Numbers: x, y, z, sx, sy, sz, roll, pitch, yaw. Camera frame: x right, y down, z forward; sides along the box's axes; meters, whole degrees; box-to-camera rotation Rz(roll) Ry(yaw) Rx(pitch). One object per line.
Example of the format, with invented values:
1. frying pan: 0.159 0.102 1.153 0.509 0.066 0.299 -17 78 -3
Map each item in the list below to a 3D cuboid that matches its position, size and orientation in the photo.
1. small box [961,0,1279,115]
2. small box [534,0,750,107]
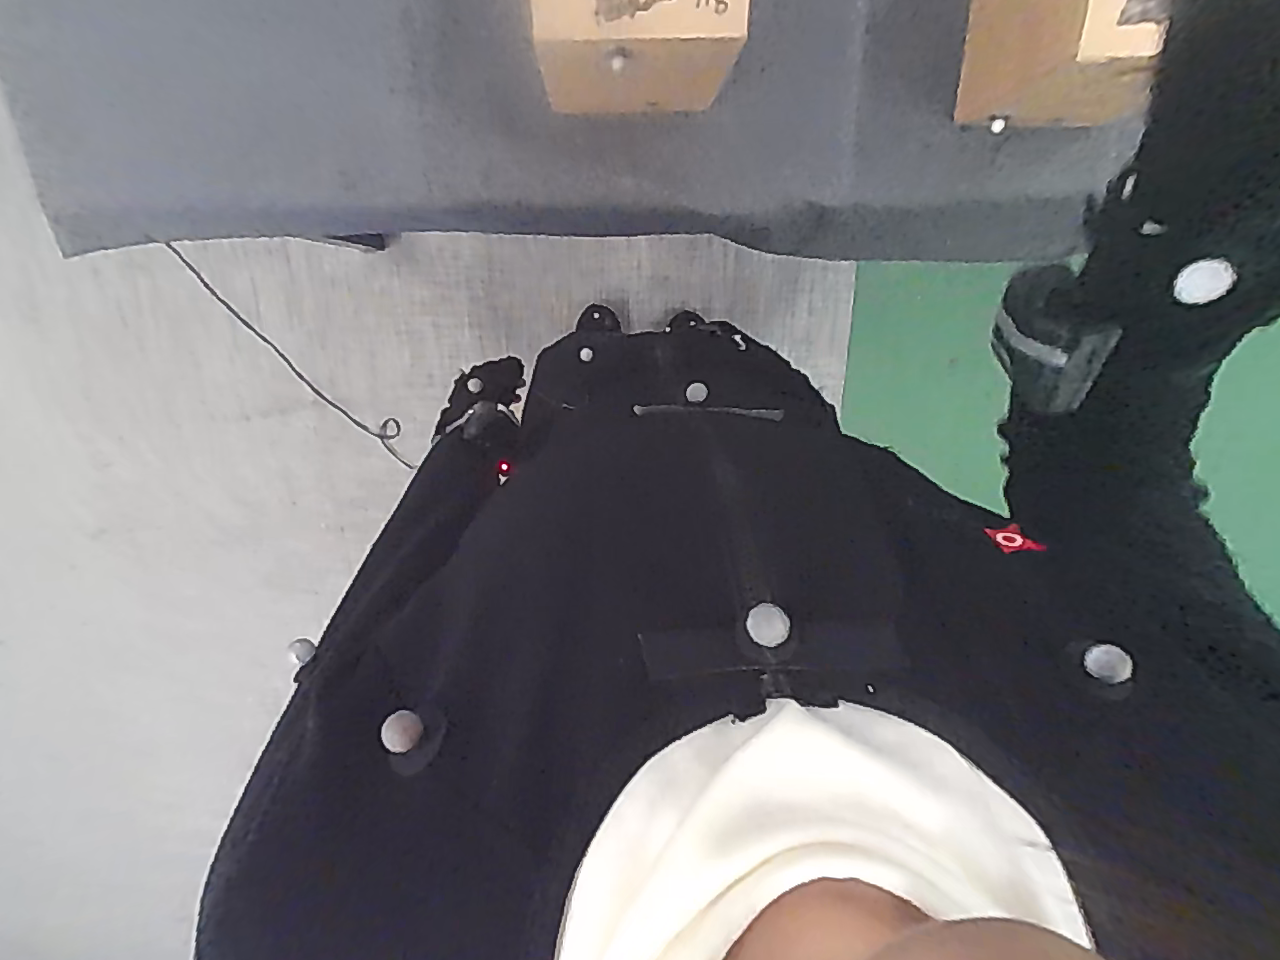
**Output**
1. small box: 0.422 -0.449 0.483 0.168 0.176 0.179 -1 107 -2
2. small box: -0.004 -0.449 0.461 0.168 0.176 0.179 -3 108 -2
